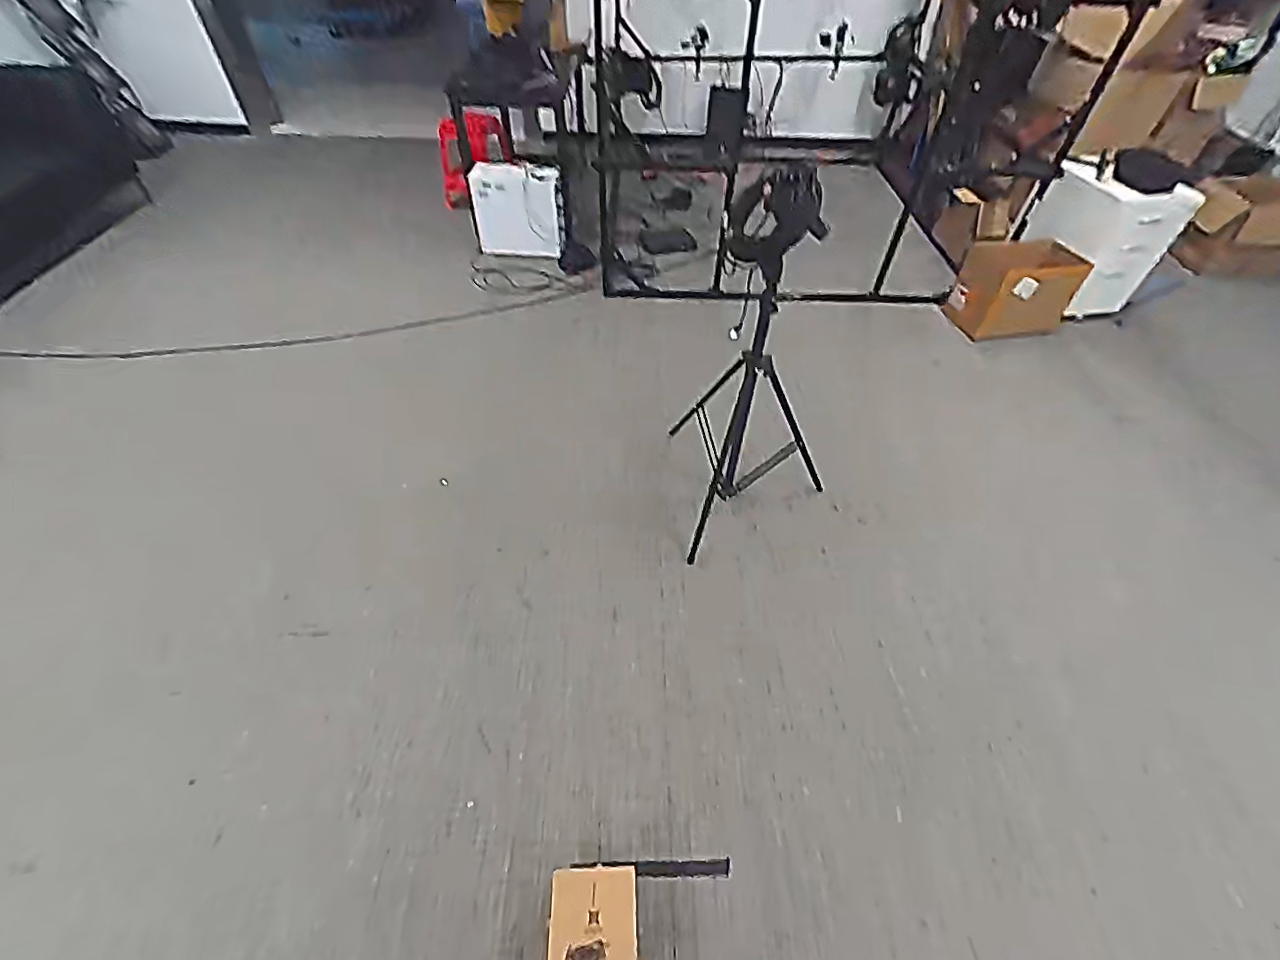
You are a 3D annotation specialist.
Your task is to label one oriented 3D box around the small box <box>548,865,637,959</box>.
[{"bbox_3d":[-0.090,0.891,1.086,0.168,0.176,0.179,-1,48,-2],"label":"small box"}]
